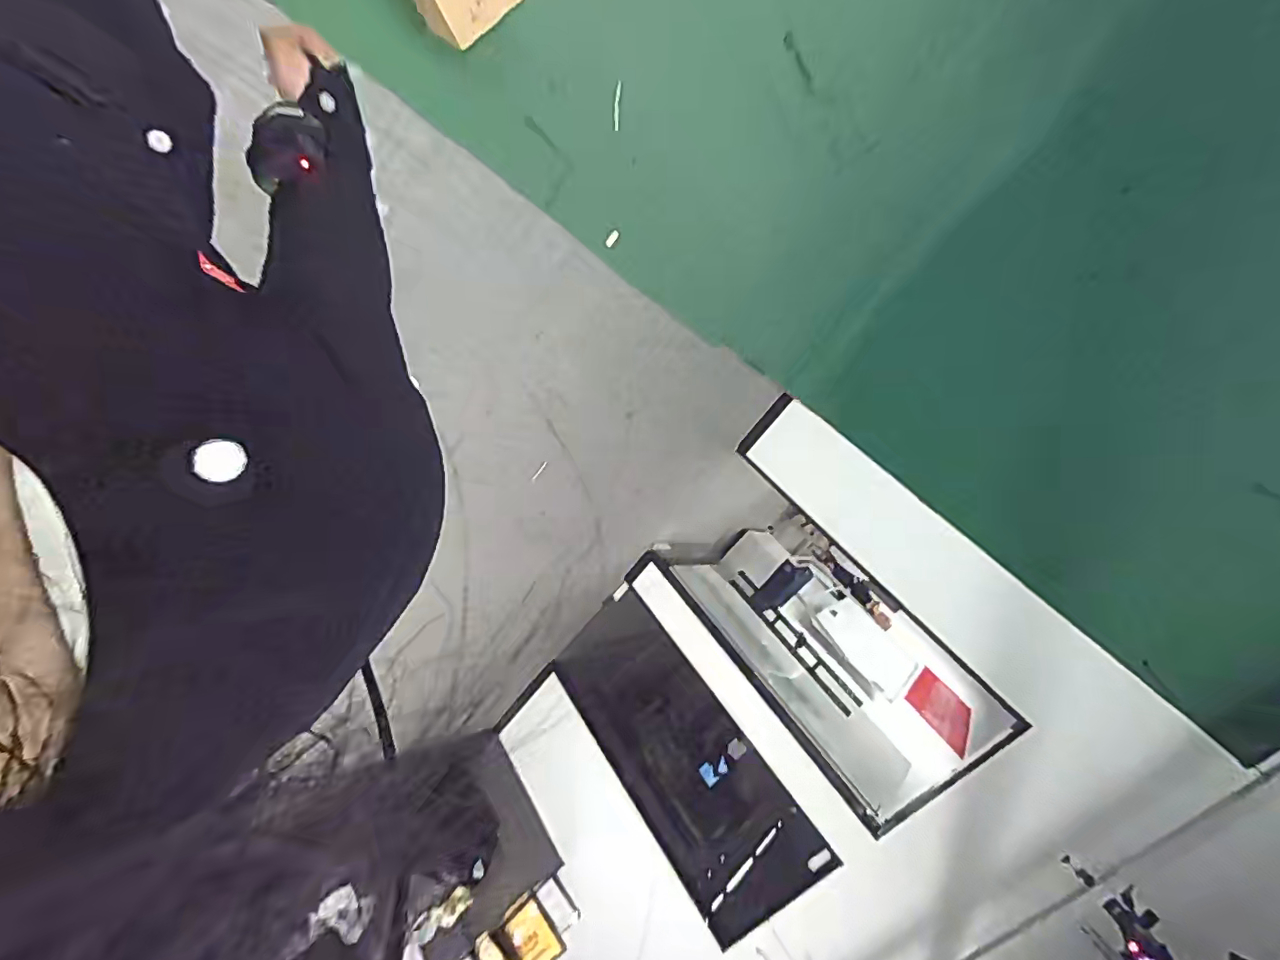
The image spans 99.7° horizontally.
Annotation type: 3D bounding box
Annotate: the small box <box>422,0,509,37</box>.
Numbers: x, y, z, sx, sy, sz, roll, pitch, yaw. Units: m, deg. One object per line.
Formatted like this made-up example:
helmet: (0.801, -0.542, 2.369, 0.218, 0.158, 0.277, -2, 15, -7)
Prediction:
small box: (-0.356, -0.996, 1.015, 0.168, 0.176, 0.179, -40, 153, 1)
